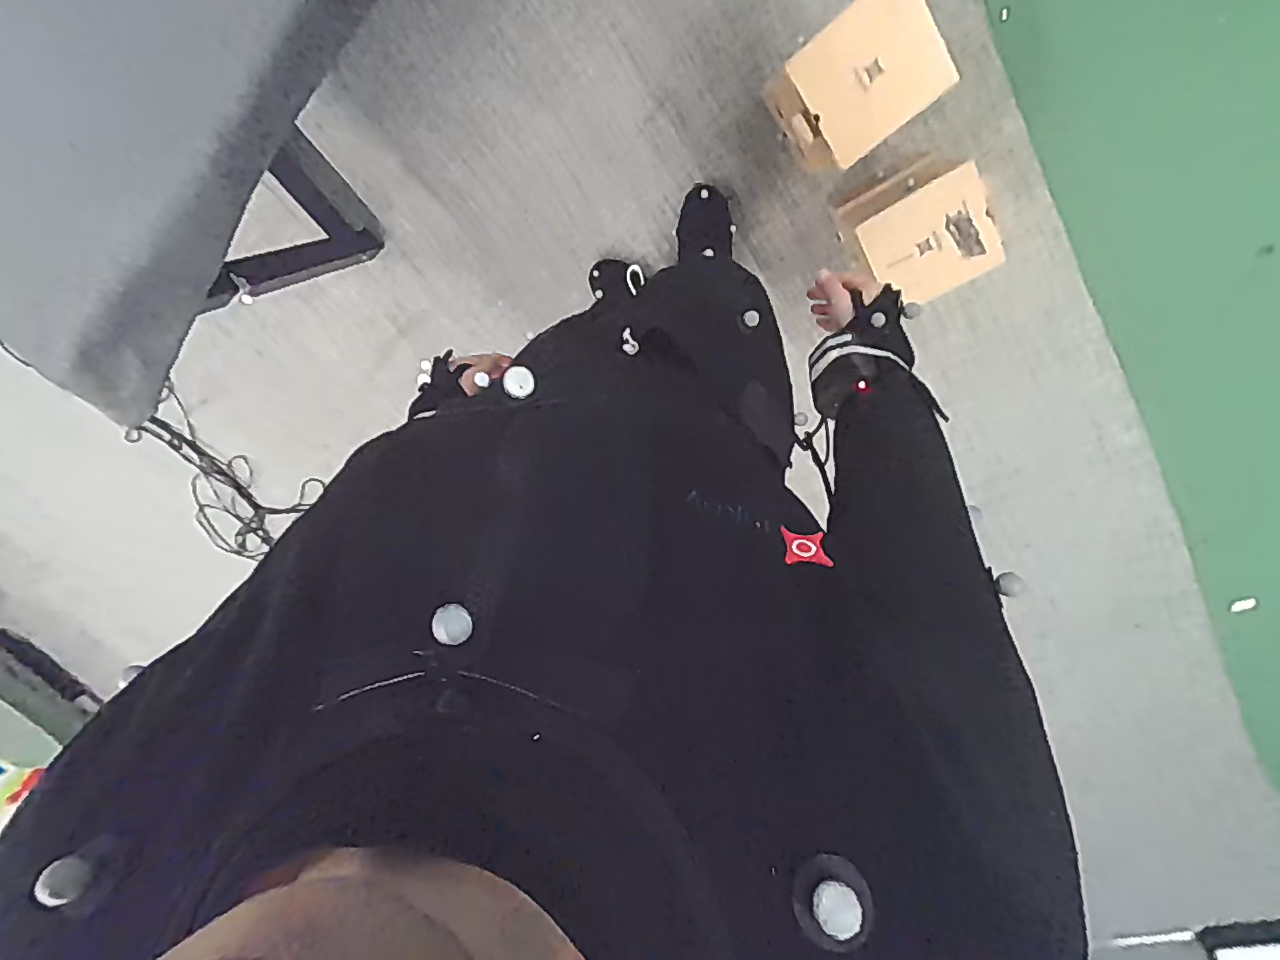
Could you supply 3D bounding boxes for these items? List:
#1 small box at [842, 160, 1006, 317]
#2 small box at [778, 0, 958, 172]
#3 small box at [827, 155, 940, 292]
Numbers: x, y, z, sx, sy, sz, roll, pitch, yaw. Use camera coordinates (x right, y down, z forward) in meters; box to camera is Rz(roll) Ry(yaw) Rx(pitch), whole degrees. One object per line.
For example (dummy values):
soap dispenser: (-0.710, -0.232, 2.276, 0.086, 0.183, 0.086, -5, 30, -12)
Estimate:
small box: (0.458, -0.403, 0.896, 0.179, 0.176, 0.168, -26, 113, 24)
small box: (0.324, -0.593, 0.803, 0.179, 0.176, 0.168, -33, 111, 25)
small box: (0.479, -0.494, 1.032, 0.179, 0.176, 0.168, -26, 113, 24)
